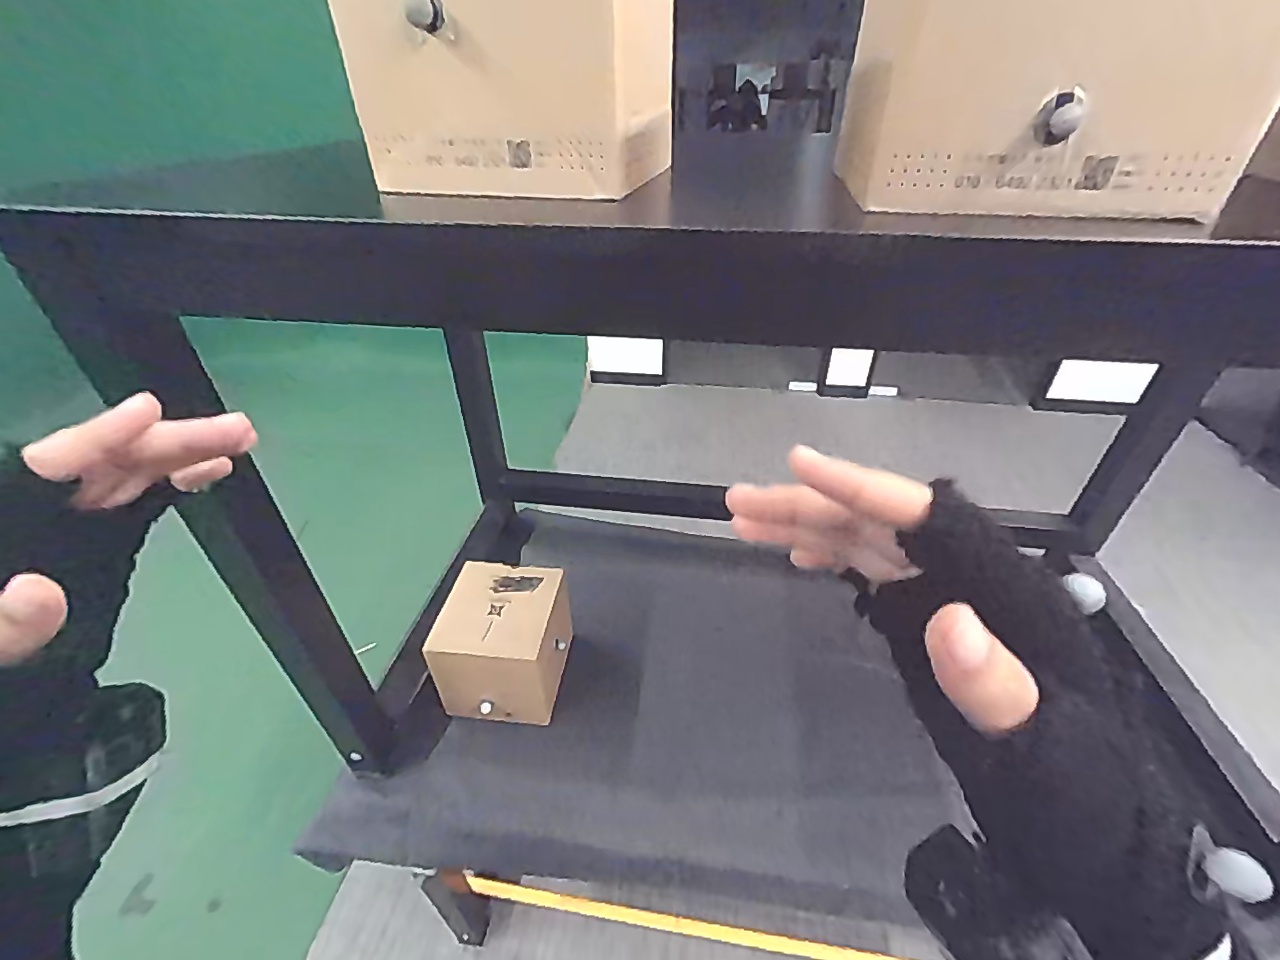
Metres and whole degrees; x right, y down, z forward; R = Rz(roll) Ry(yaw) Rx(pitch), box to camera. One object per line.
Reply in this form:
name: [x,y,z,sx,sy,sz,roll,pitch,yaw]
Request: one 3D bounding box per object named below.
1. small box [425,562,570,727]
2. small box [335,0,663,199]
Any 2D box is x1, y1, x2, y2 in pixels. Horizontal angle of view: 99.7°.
small box: [-0.209,0.255,0.851,0.168,0.176,0.179,3,36,5]
small box: [-0.078,-0.294,0.366,0.168,0.176,0.179,7,36,11]
